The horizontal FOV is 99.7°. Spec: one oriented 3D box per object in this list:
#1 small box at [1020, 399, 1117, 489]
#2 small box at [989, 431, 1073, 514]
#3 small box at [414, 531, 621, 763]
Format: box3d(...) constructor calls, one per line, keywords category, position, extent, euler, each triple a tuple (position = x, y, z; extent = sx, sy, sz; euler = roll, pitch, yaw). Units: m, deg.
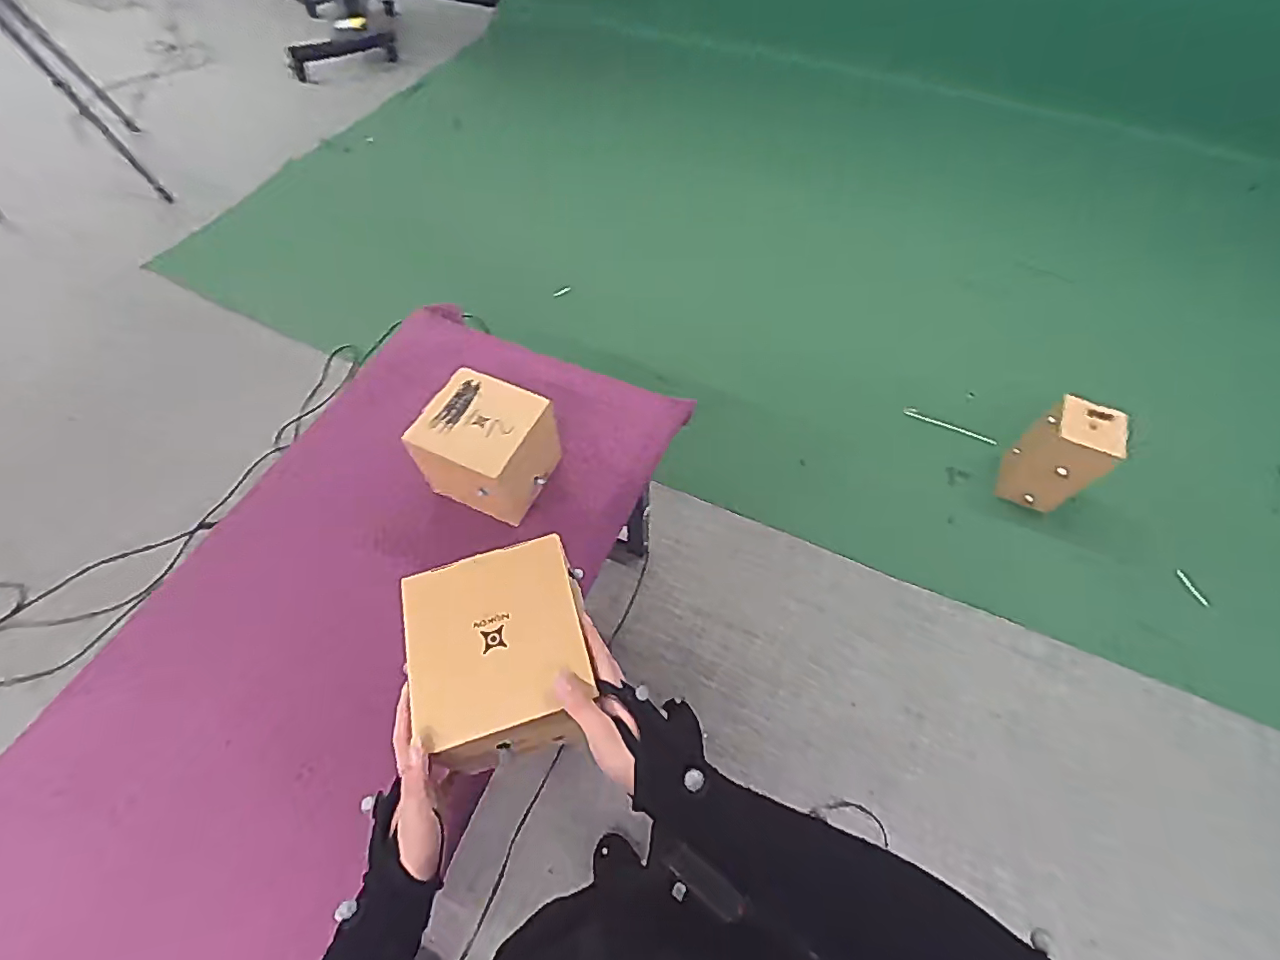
box3d(category="small box", position=(1.277, -0.106, 1.619), extent=(0.168, 0.176, 0.179), euler=(23, 62, 13))
box3d(category="small box", position=(1.274, -0.021, 1.760), extent=(0.168, 0.176, 0.179), euler=(23, 62, 13))
box3d(category="small box", position=(-0.123, 0.186, 0.579), extent=(0.168, 0.176, 0.179), euler=(-16, 57, -8))
